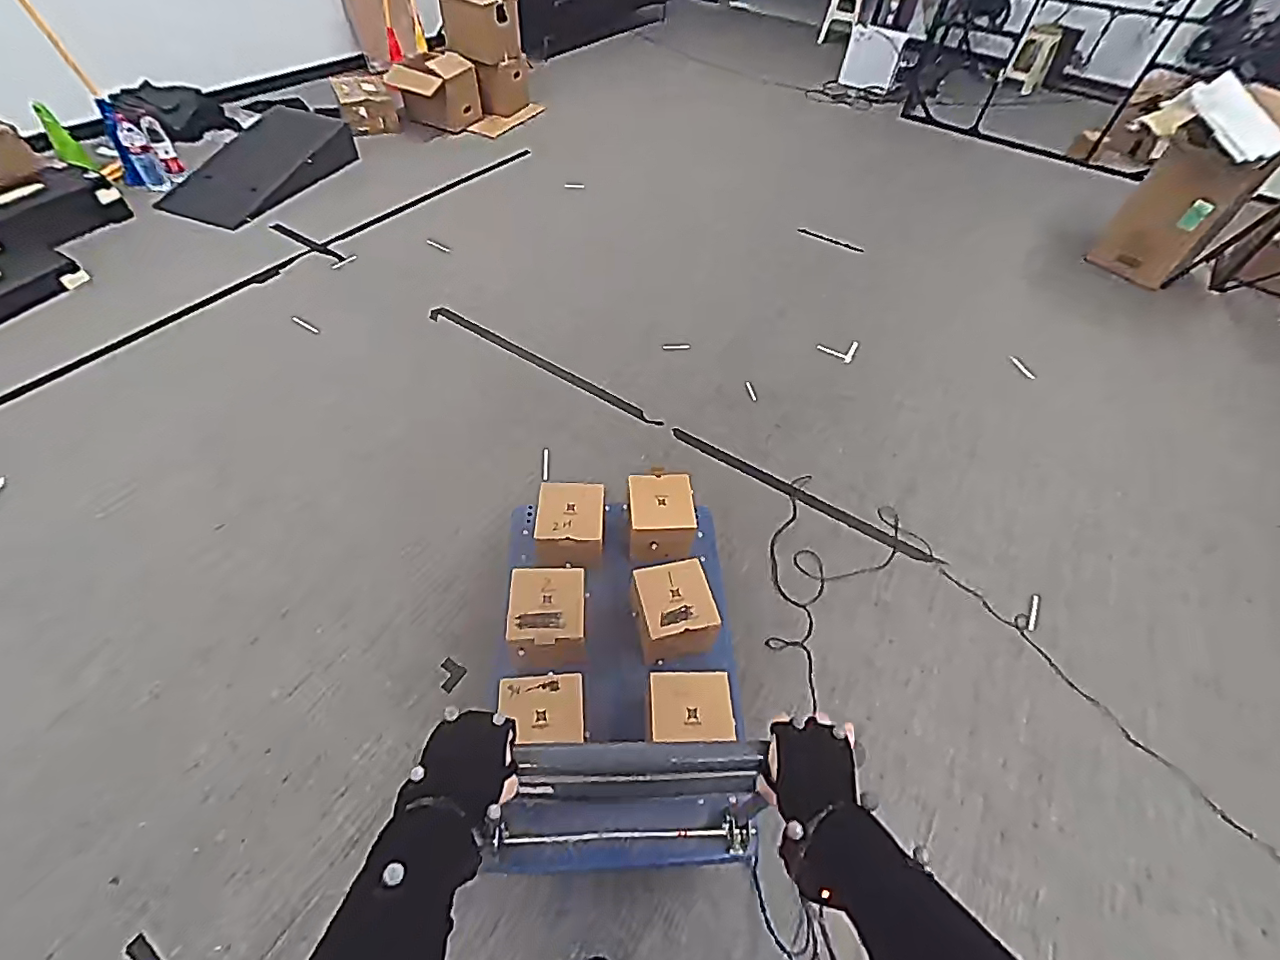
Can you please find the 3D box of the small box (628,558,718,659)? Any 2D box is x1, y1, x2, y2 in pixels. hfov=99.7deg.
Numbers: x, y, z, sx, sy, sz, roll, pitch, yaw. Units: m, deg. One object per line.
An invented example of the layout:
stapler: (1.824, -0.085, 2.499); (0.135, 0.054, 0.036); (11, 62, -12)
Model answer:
small box: (0.072, 0.316, 1.302); (0.168, 0.176, 0.179); (-8, 52, -13)

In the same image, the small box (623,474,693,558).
small box: (0.044, 0.104, 1.471); (0.168, 0.176, 0.179); (-1, 51, -7)

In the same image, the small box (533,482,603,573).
small box: (-0.186, 0.126, 1.425); (0.168, 0.176, 0.179); (2, 52, -4)

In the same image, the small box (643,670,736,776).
small box: (0.097, 0.518, 1.143); (0.168, 0.176, 0.179); (2, 50, -5)

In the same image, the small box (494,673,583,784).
small box: (-0.200, 0.515, 1.111); (0.168, 0.176, 0.179); (-1, 52, -8)
